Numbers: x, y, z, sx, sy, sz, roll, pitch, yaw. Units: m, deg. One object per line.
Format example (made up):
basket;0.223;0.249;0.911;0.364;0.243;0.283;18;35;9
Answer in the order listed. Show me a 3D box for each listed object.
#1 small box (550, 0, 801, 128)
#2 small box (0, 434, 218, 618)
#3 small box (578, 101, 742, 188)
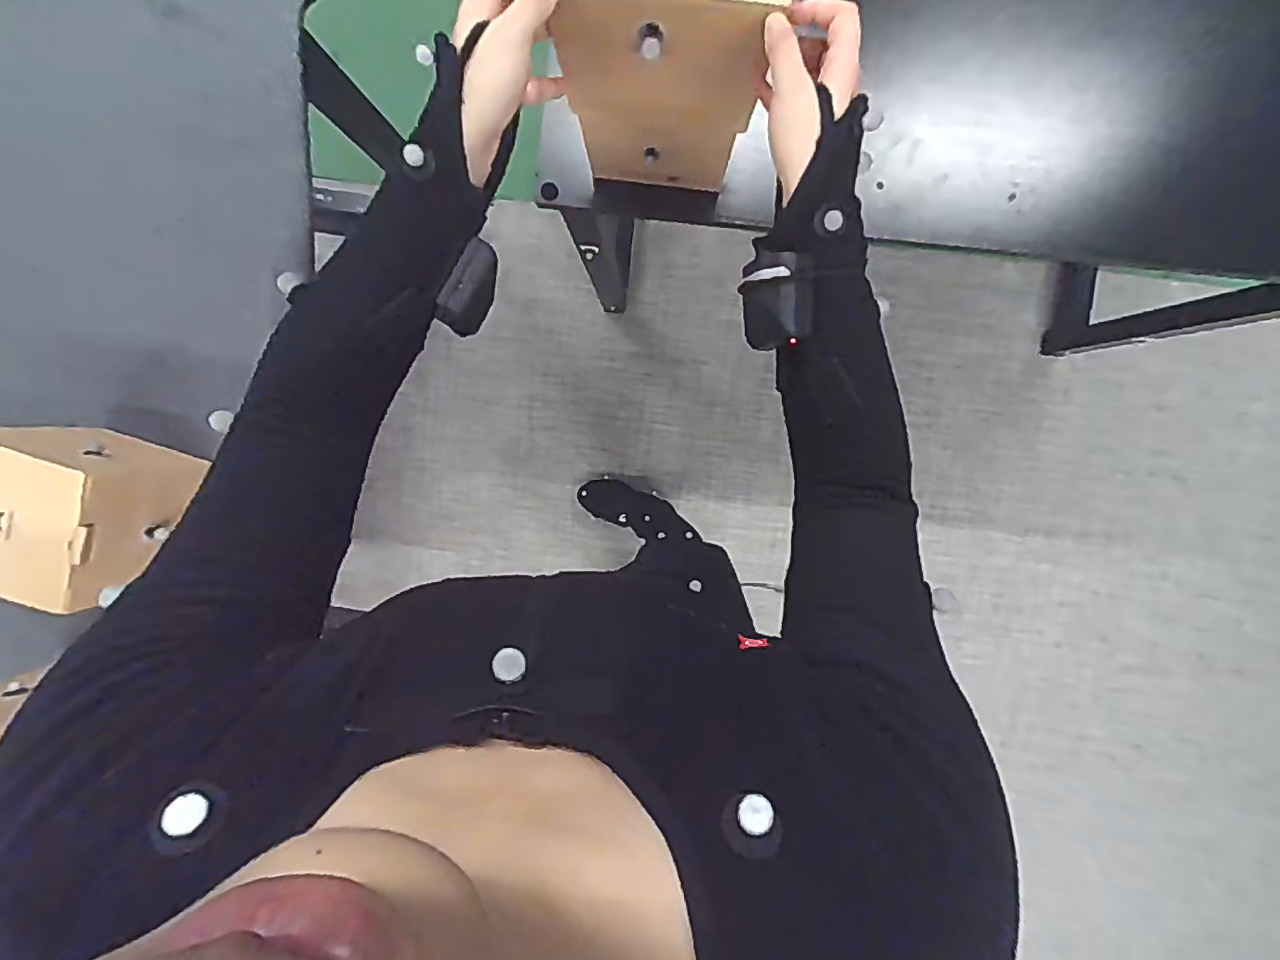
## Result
small box;0.032;-0.414;0.433;0.179;0.176;0.168;7;97;1
small box;-0.674;0.042;0.665;0.179;0.176;0.168;17;96;1
small box;0.032;-0.448;0.594;0.168;0.176;0.179;7;96;0
